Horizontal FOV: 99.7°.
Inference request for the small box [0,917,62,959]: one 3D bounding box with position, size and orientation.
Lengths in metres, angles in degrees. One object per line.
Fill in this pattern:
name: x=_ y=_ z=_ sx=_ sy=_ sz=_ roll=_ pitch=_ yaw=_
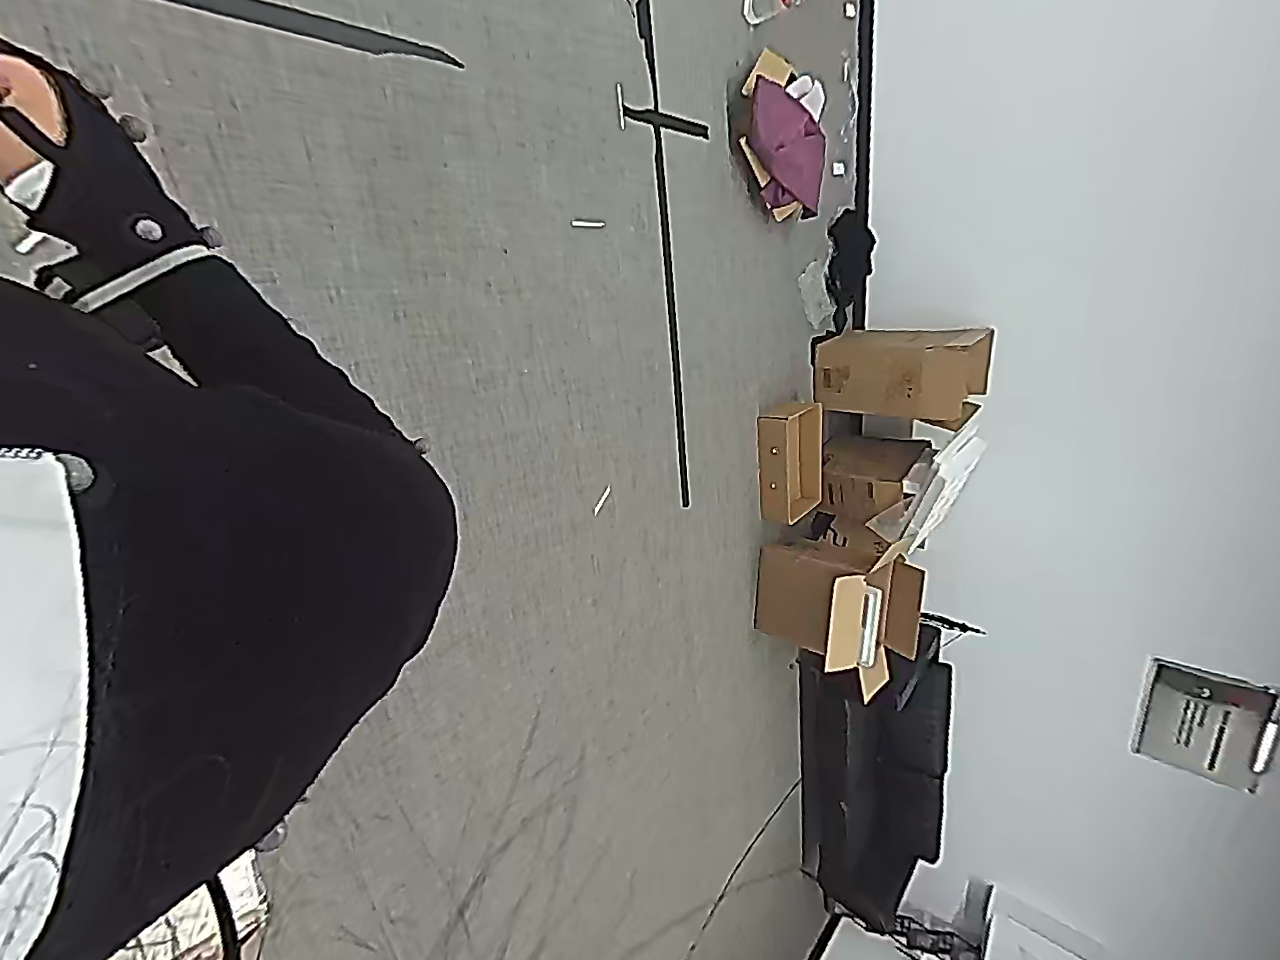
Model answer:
small box: x=-0.861 y=0.728 z=0.683 sx=0.179 sy=0.176 sz=0.168 roll=-19 pitch=112 yaw=-44
